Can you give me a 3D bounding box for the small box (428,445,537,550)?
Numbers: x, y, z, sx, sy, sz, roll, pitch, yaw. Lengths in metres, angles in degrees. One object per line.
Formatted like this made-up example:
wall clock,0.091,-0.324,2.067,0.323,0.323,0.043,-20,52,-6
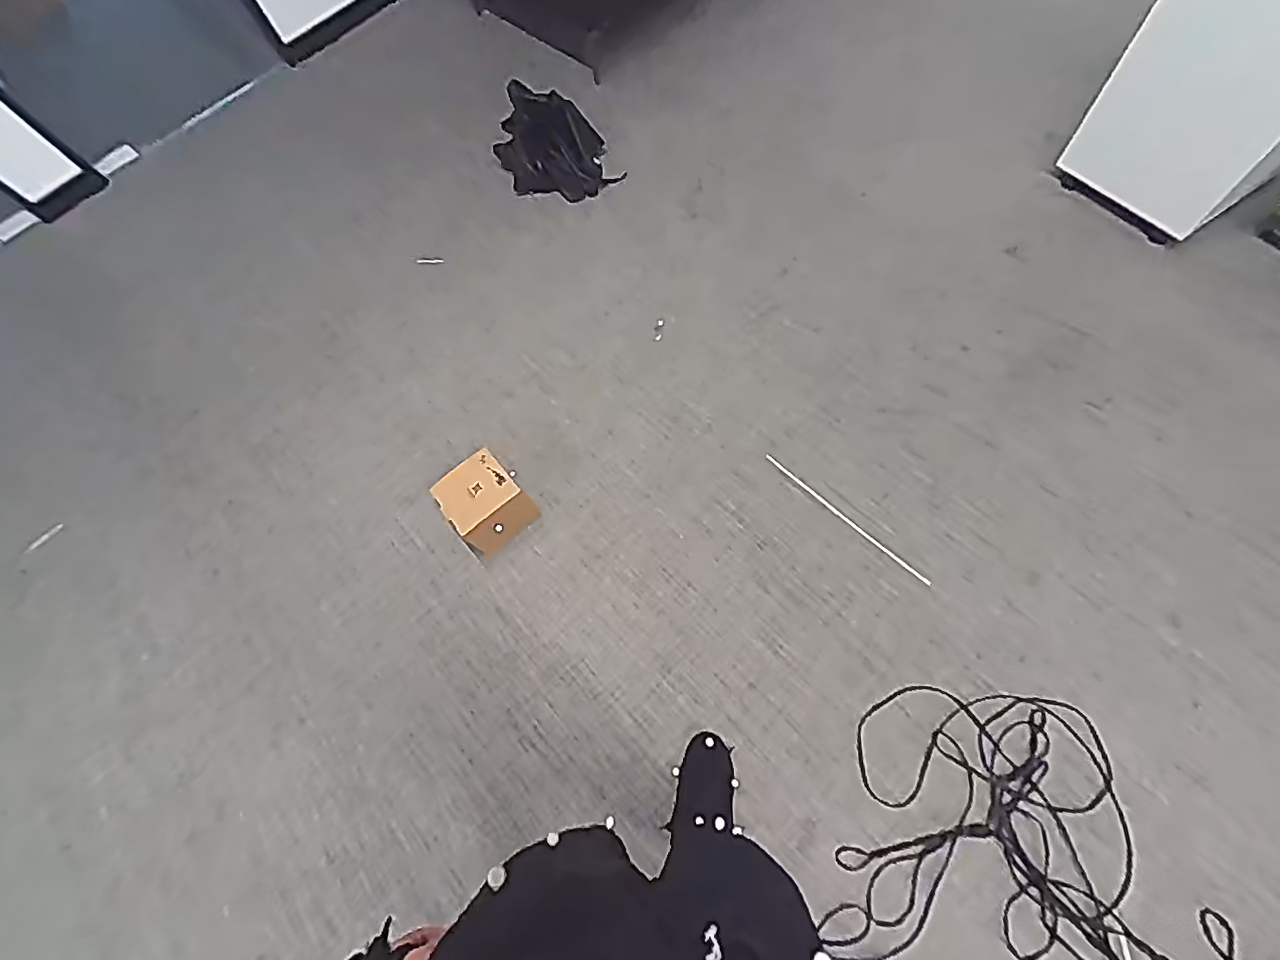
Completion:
small box,-0.391,0.051,1.368,0.179,0.176,0.168,-40,68,-8
